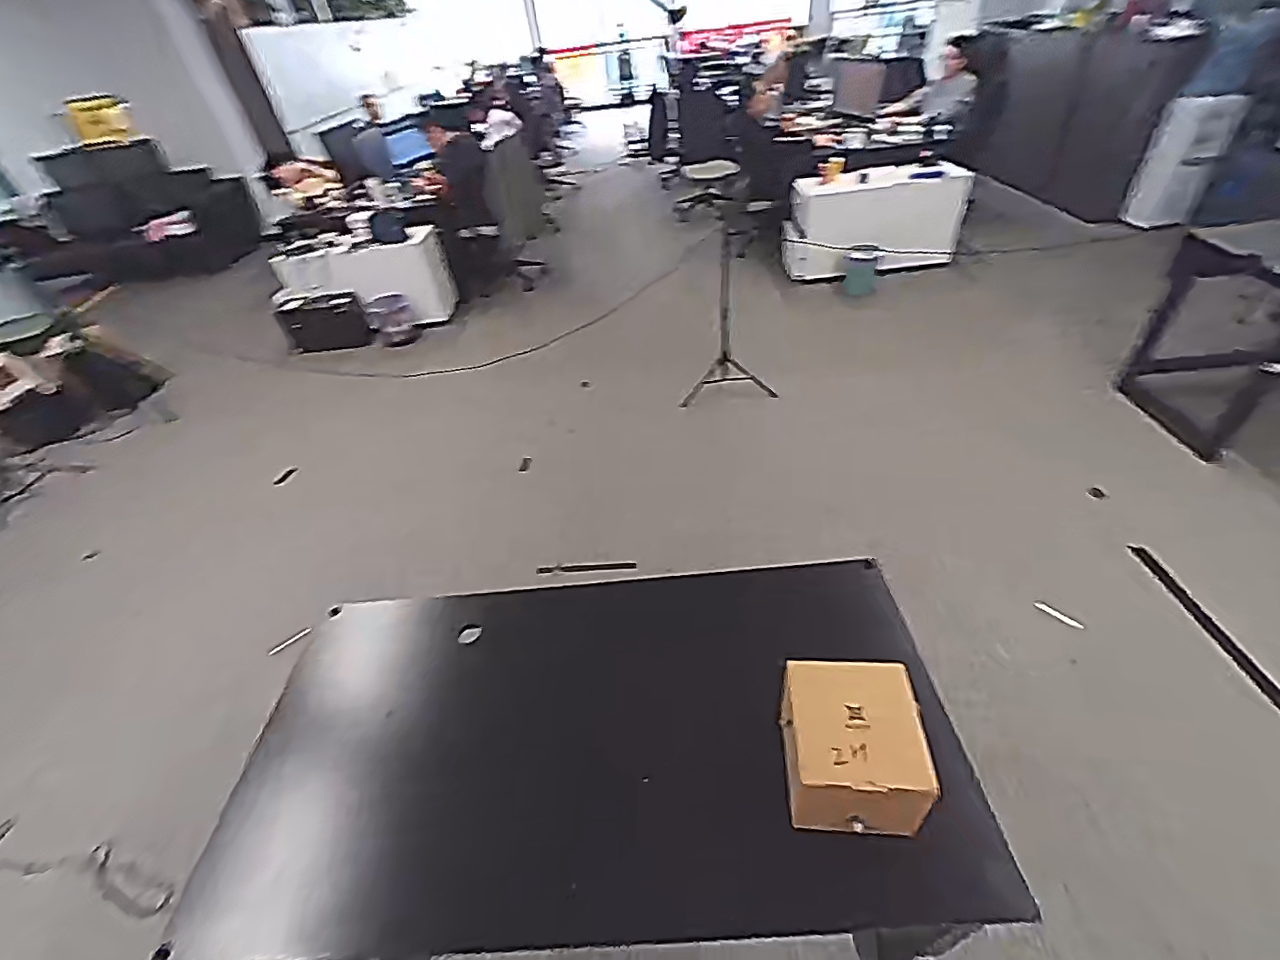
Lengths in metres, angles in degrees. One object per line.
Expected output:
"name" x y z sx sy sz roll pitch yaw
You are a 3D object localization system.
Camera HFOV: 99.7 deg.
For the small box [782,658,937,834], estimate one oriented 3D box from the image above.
"small box" 0.300 0.382 0.783 0.168 0.176 0.179 -2 42 9
